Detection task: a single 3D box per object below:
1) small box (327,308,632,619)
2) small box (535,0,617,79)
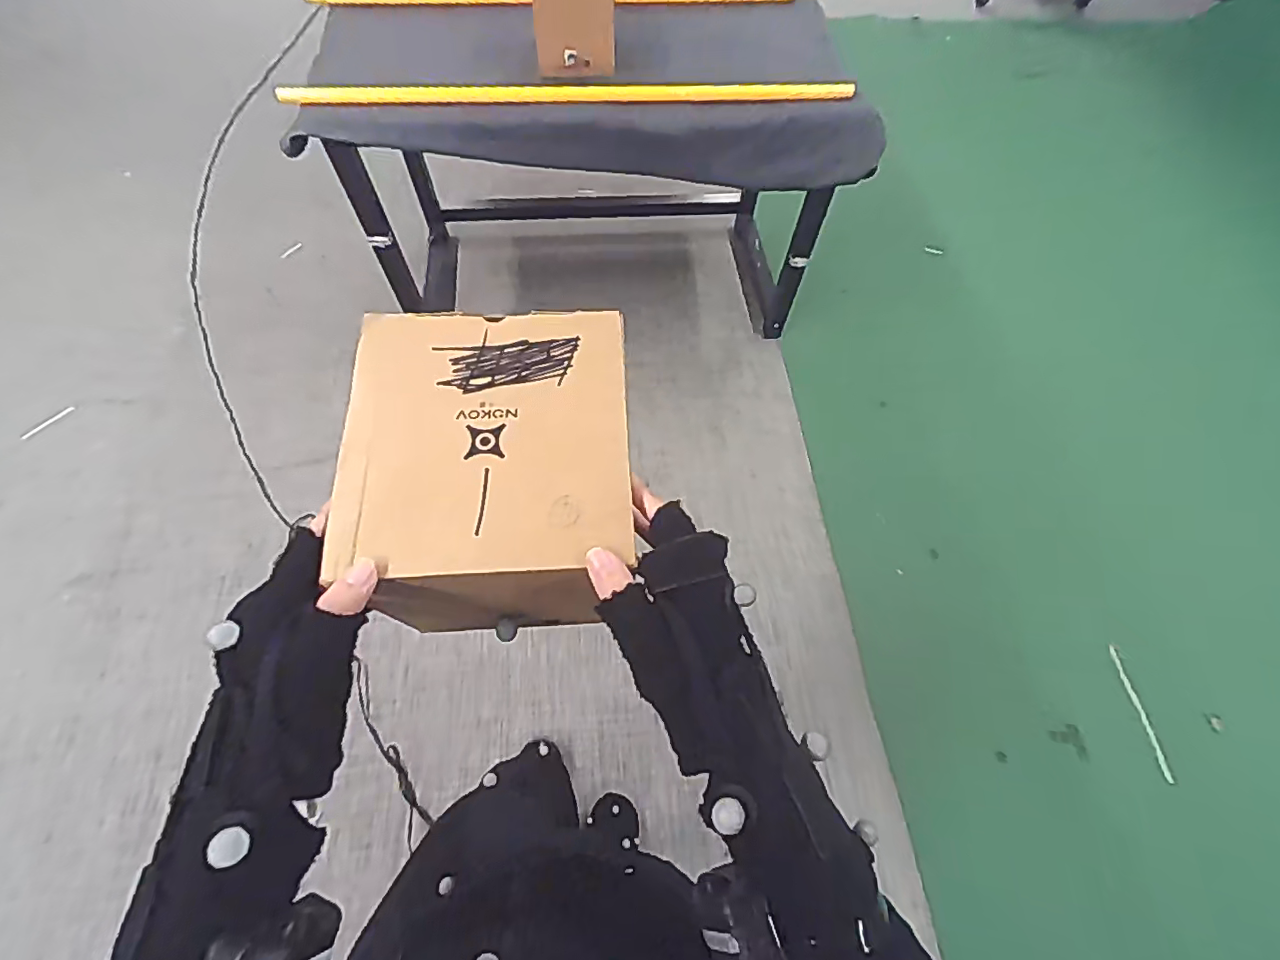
[{"bbox_3d":[-0.094,-0.003,0.399,0.168,0.176,0.179,-2,66,-3],"label":"small box"},{"bbox_3d":[-0.140,-1.008,1.172,0.168,0.176,0.179,-6,64,-4],"label":"small box"}]
